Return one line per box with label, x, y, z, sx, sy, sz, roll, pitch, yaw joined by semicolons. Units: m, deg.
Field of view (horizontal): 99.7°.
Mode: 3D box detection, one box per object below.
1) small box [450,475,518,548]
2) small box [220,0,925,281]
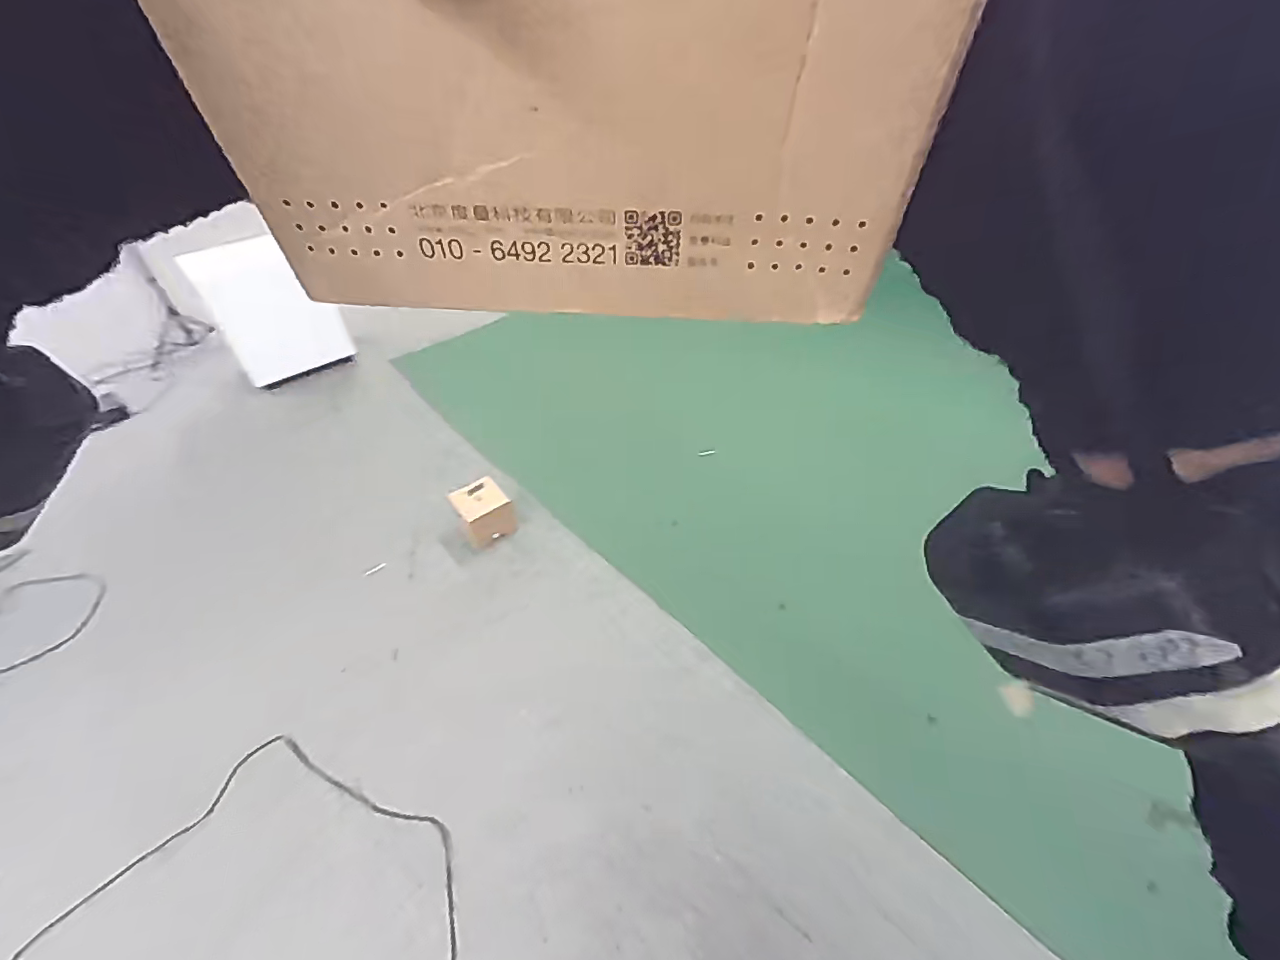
small box;-0.570;0.118;1.985;0.168;0.176;0.179;-30;50;-27
small box;-0.012;-0.176;0.156;0.168;0.176;0.179;3;52;2
